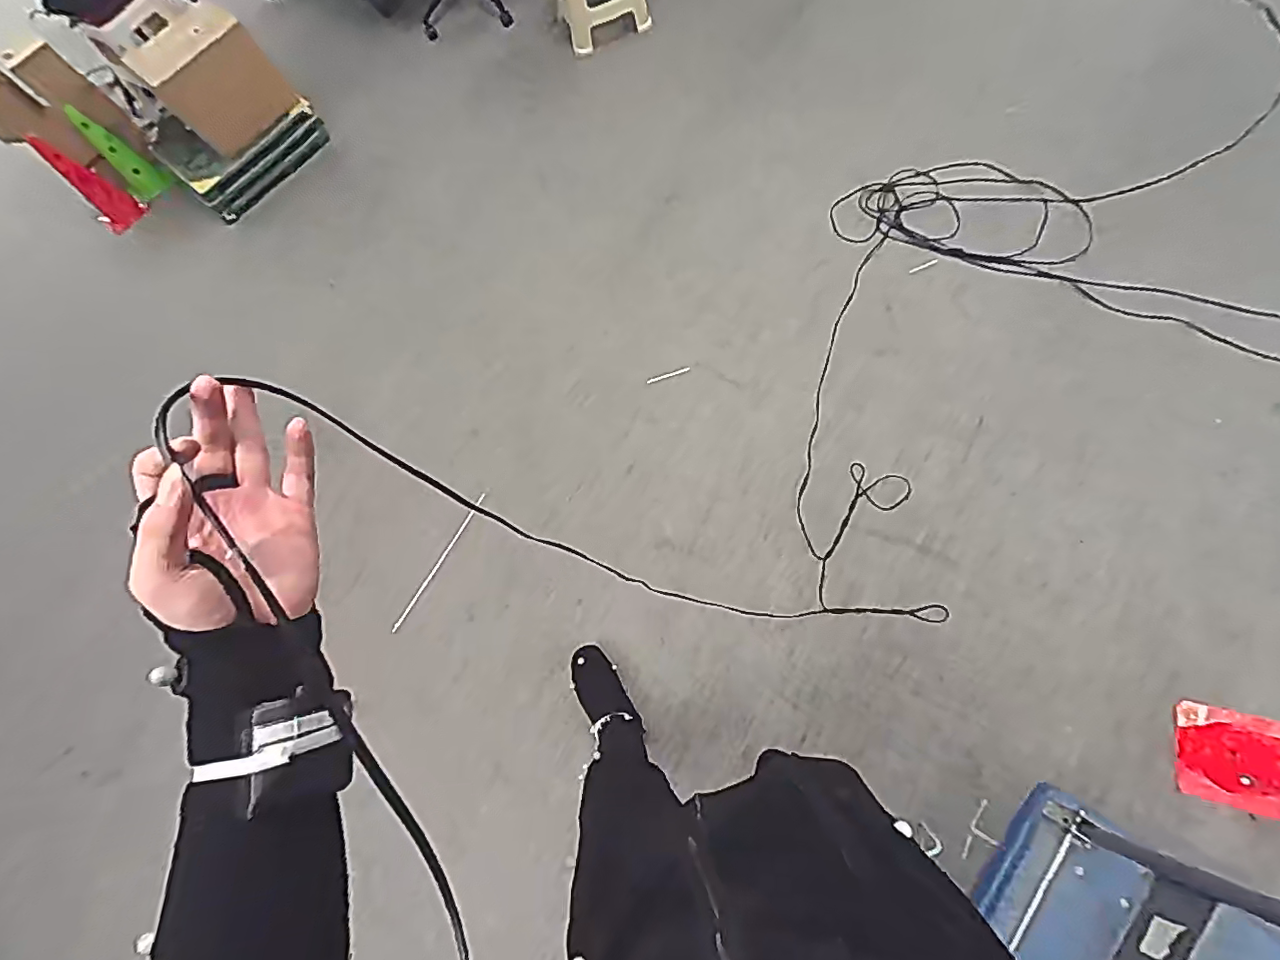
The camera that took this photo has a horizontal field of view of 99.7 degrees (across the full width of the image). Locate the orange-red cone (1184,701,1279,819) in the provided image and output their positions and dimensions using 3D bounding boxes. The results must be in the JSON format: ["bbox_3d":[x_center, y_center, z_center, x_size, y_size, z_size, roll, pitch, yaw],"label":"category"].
[{"bbox_3d":[1.274,0.544,1.016,0.198,0.360,0.199,13,72,13],"label":"orange-red cone"}]
